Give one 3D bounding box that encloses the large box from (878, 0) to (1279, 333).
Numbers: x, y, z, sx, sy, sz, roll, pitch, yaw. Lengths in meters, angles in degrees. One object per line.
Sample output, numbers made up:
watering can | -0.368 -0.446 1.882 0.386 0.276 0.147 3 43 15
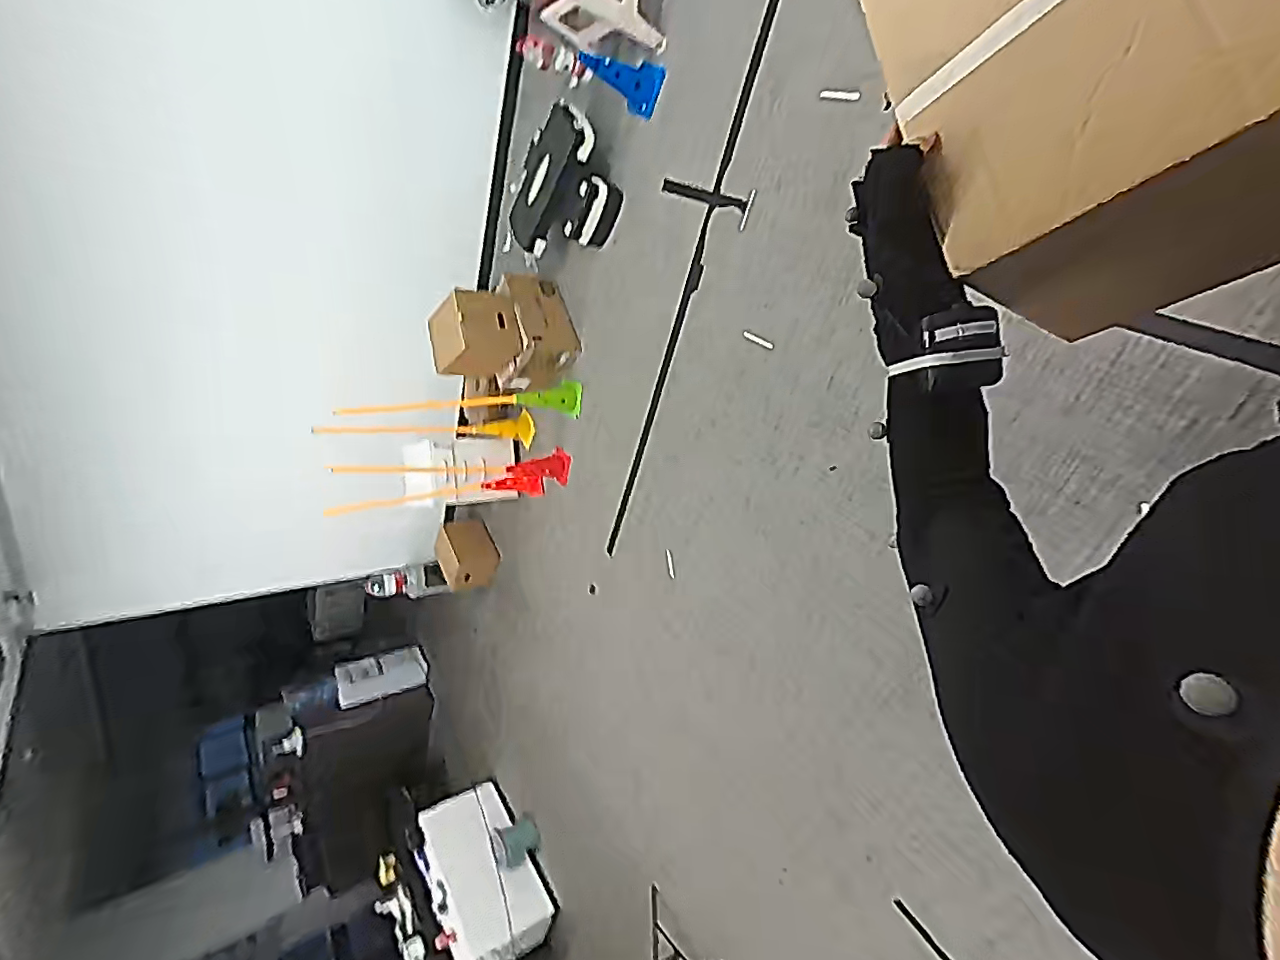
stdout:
large box | 0.472 -0.364 0.408 0.408 0.320 0.320 -23 71 49
